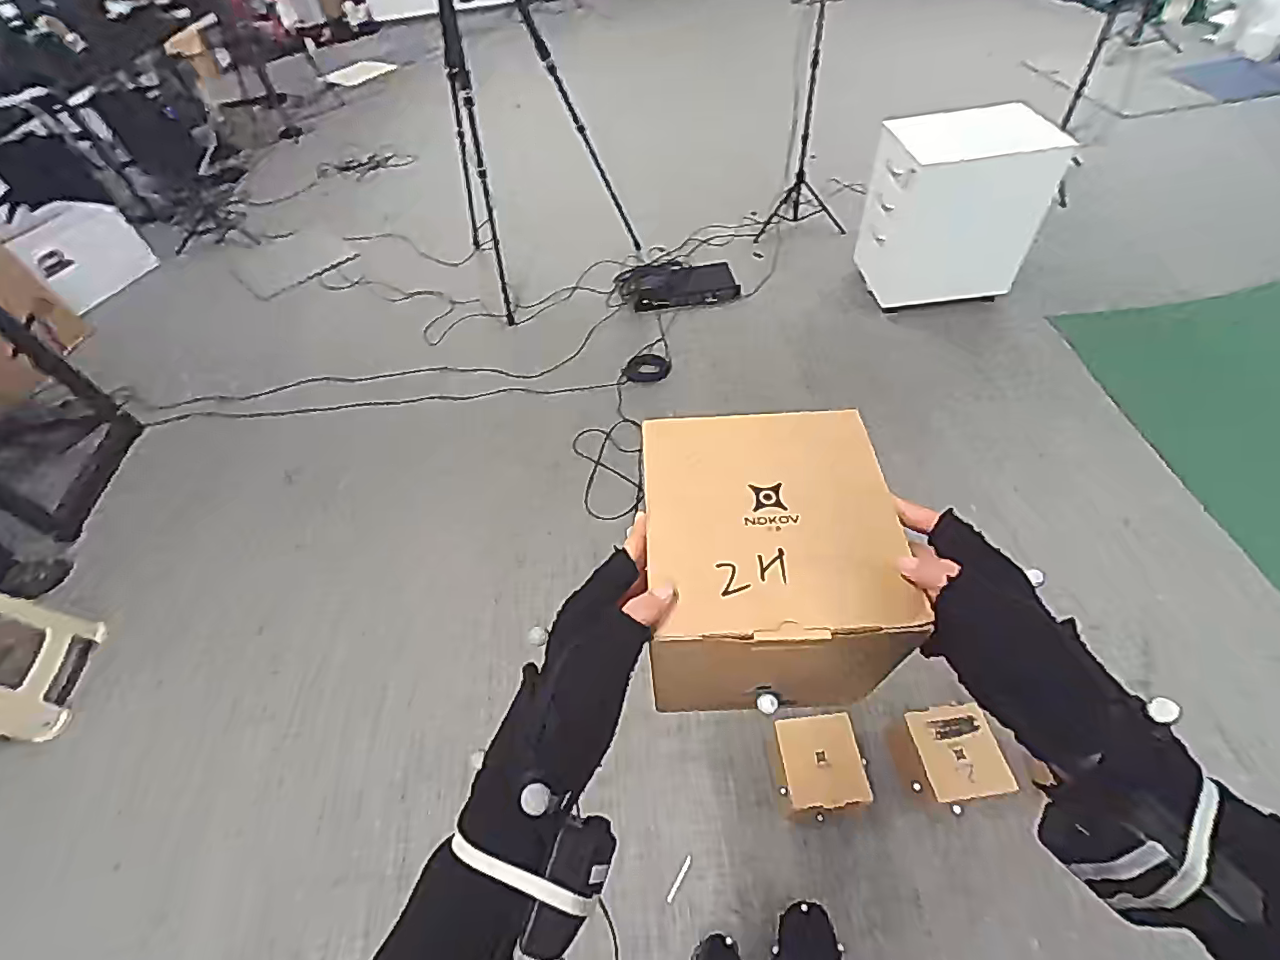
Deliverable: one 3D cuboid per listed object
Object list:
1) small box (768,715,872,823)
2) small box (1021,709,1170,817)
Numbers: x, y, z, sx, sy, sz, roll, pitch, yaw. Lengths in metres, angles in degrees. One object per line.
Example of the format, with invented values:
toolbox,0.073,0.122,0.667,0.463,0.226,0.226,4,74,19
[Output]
small box,0.391,0.649,1.212,0.168,0.176,0.179,-7,51,1
small box,0.959,0.614,1.166,0.179,0.176,0.168,5,53,9
